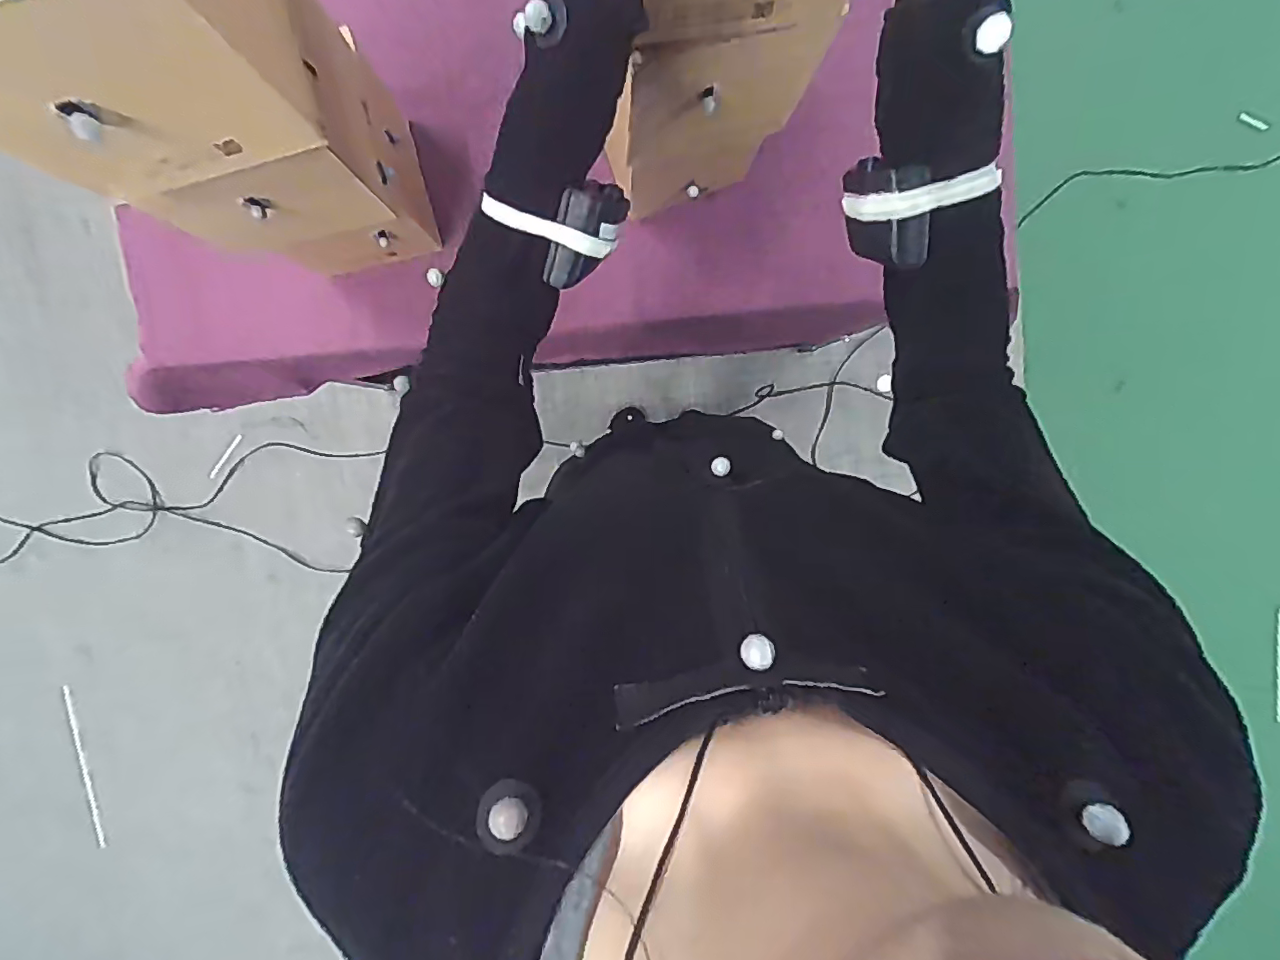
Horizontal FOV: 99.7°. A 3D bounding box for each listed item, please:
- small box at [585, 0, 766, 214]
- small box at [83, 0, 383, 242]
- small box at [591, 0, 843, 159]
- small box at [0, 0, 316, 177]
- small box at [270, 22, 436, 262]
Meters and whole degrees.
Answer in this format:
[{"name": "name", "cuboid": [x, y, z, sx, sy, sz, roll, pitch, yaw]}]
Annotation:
[{"name": "small box", "cuboid": [0.038, -0.455, 0.644, 0.168, 0.176, 0.179, -18, 96, 0]}, {"name": "small box", "cuboid": [-0.351, -0.332, 0.475, 0.179, 0.176, 0.168, -13, 96, -2]}, {"name": "small box", "cuboid": [0.051, -0.421, 0.482, 0.179, 0.176, 0.168, -14, 96, -1]}, {"name": "small box", "cuboid": [-0.331, -0.307, 0.316, 0.168, 0.176, 0.179, -17, 96, -2]}, {"name": "small box", "cuboid": [-0.360, -0.373, 0.635, 0.168, 0.176, 0.179, -12, 95, -2]}]
